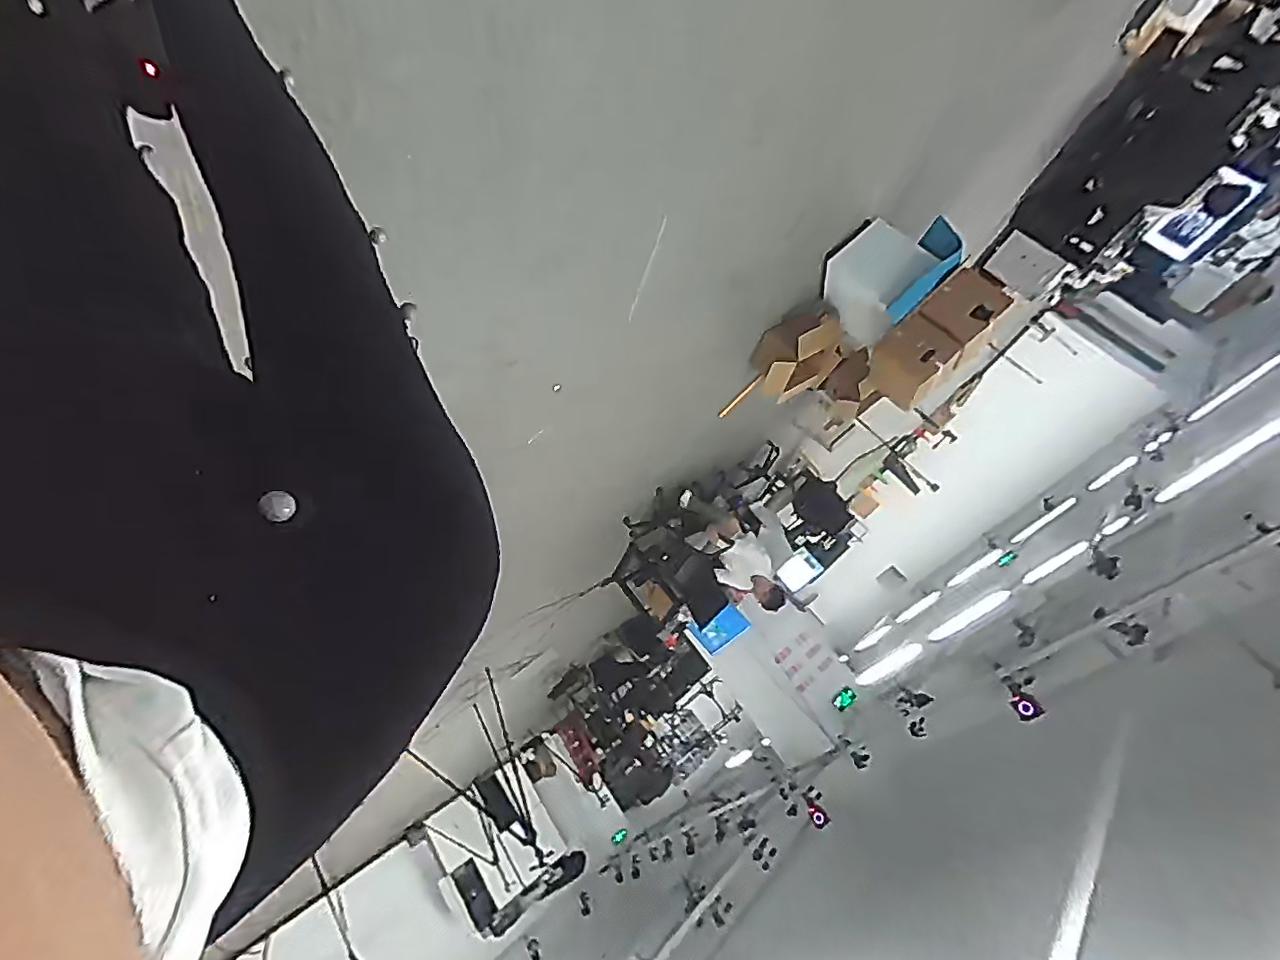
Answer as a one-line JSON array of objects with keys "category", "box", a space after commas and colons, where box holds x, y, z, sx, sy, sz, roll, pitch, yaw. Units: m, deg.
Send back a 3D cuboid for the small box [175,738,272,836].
[{"category": "small box", "box": [-1.183, 0.868, 1.539, 0.168, 0.176, 0.179, -23, 155, -35]}]
